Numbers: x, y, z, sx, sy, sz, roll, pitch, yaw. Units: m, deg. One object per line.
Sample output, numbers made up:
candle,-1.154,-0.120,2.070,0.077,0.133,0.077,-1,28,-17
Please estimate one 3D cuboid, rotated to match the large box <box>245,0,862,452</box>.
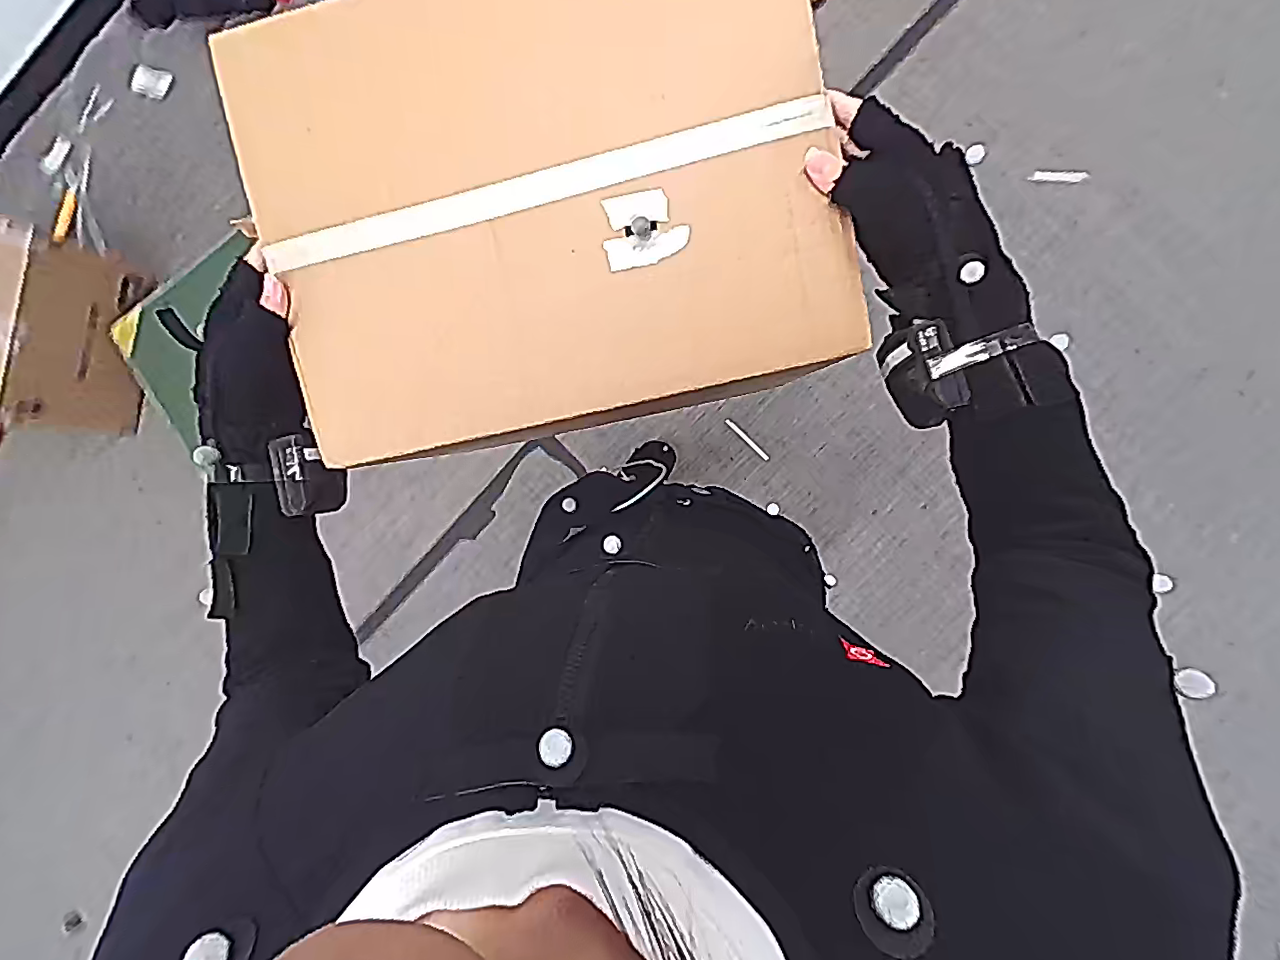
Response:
large box,-0.057,-0.224,0.535,0.408,0.320,0.320,-11,96,4
